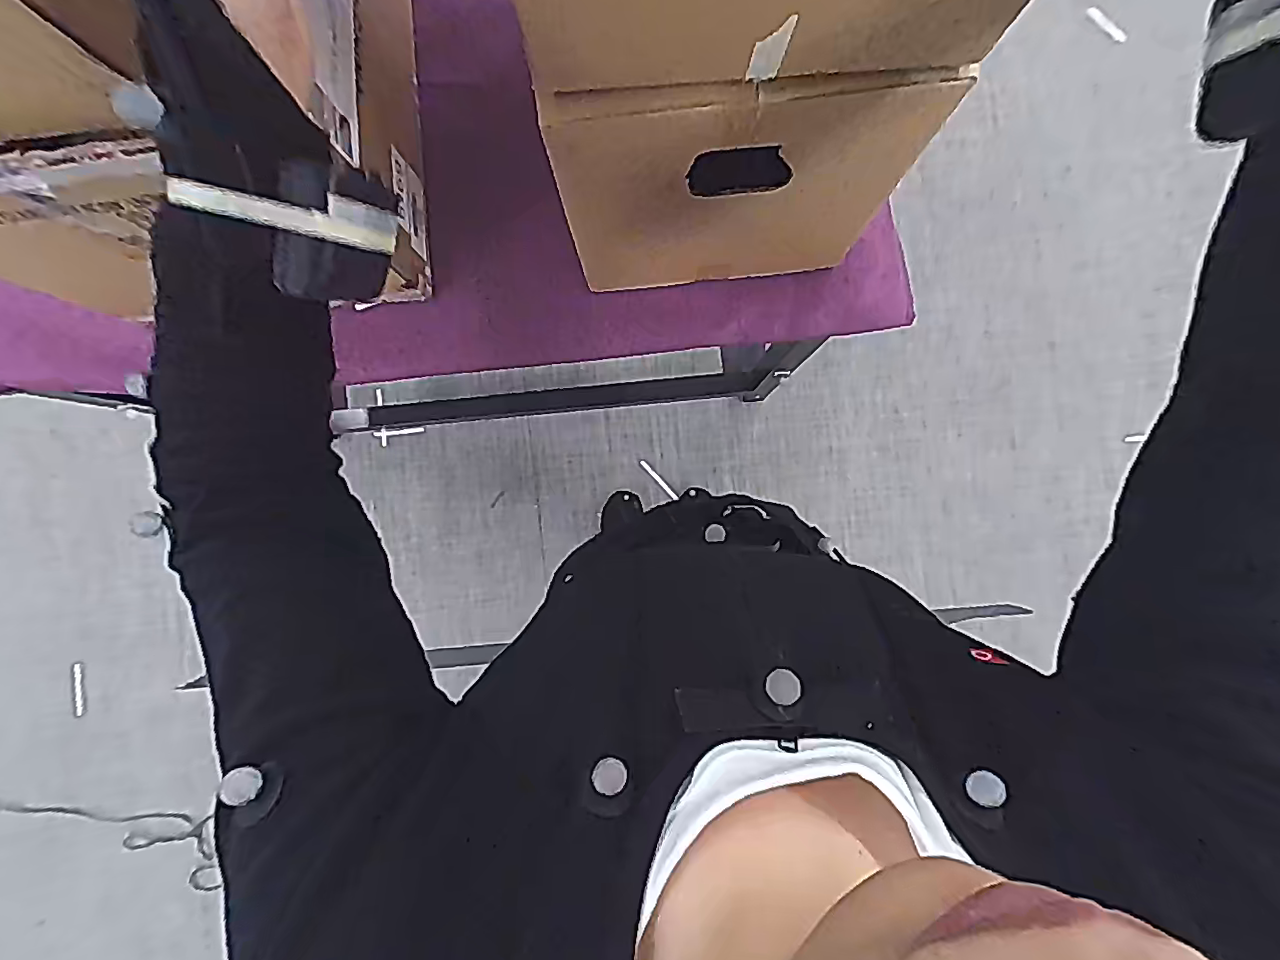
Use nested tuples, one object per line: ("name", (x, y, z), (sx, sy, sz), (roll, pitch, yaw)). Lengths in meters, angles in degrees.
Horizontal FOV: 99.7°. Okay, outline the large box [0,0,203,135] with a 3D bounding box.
("large box", (-0.478, -0.449, 0.245), (0.320, 0.320, 0.408), (-4, 88, 5))
